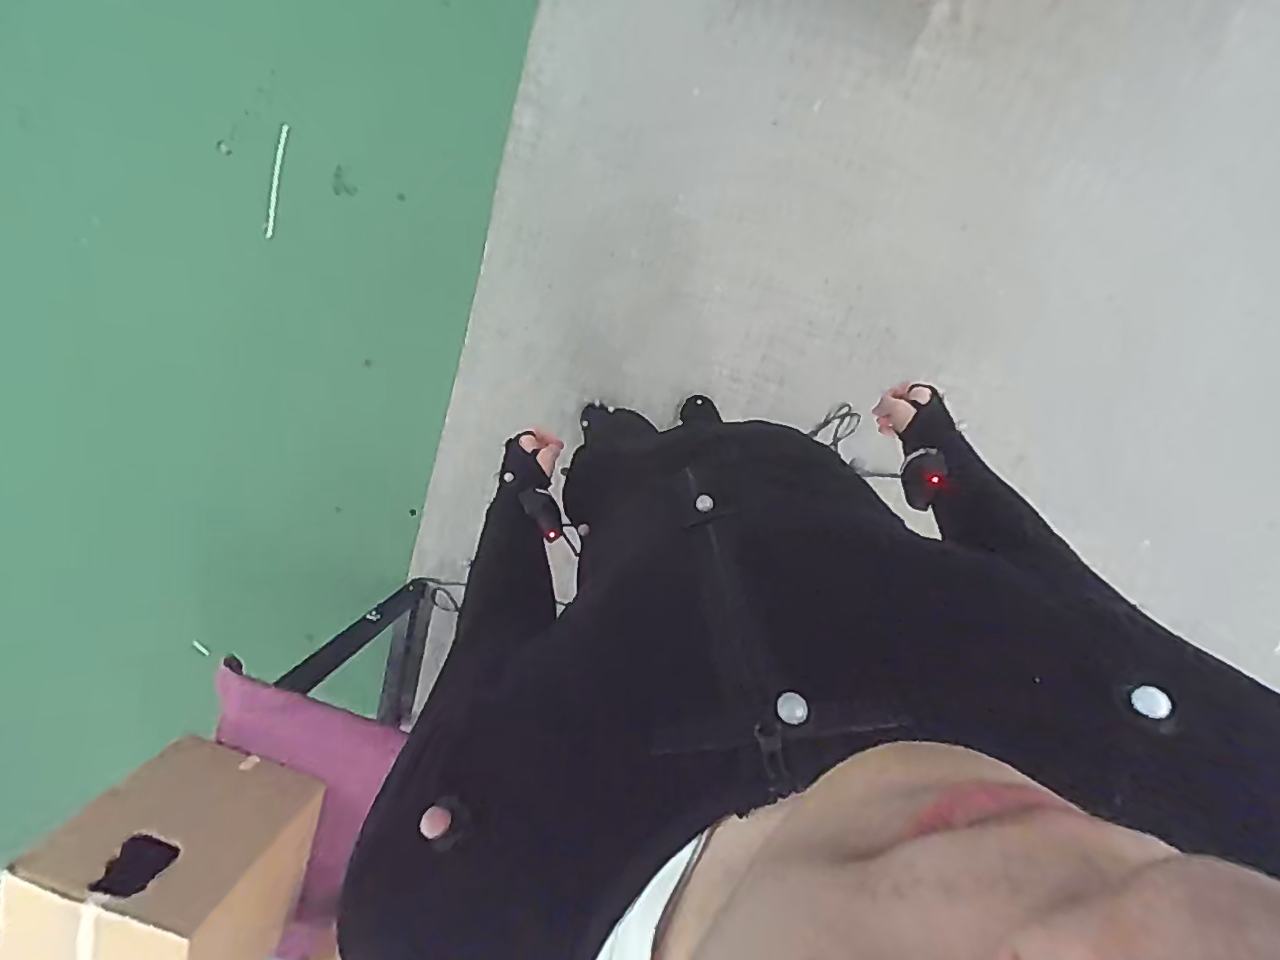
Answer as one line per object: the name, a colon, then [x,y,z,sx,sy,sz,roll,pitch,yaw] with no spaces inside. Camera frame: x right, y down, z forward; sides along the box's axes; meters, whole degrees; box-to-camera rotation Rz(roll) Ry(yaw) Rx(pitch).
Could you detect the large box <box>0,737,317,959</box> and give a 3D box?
large box: [-0.856,0.775,0.986,0.320,0.320,0.408,18,102,0]
